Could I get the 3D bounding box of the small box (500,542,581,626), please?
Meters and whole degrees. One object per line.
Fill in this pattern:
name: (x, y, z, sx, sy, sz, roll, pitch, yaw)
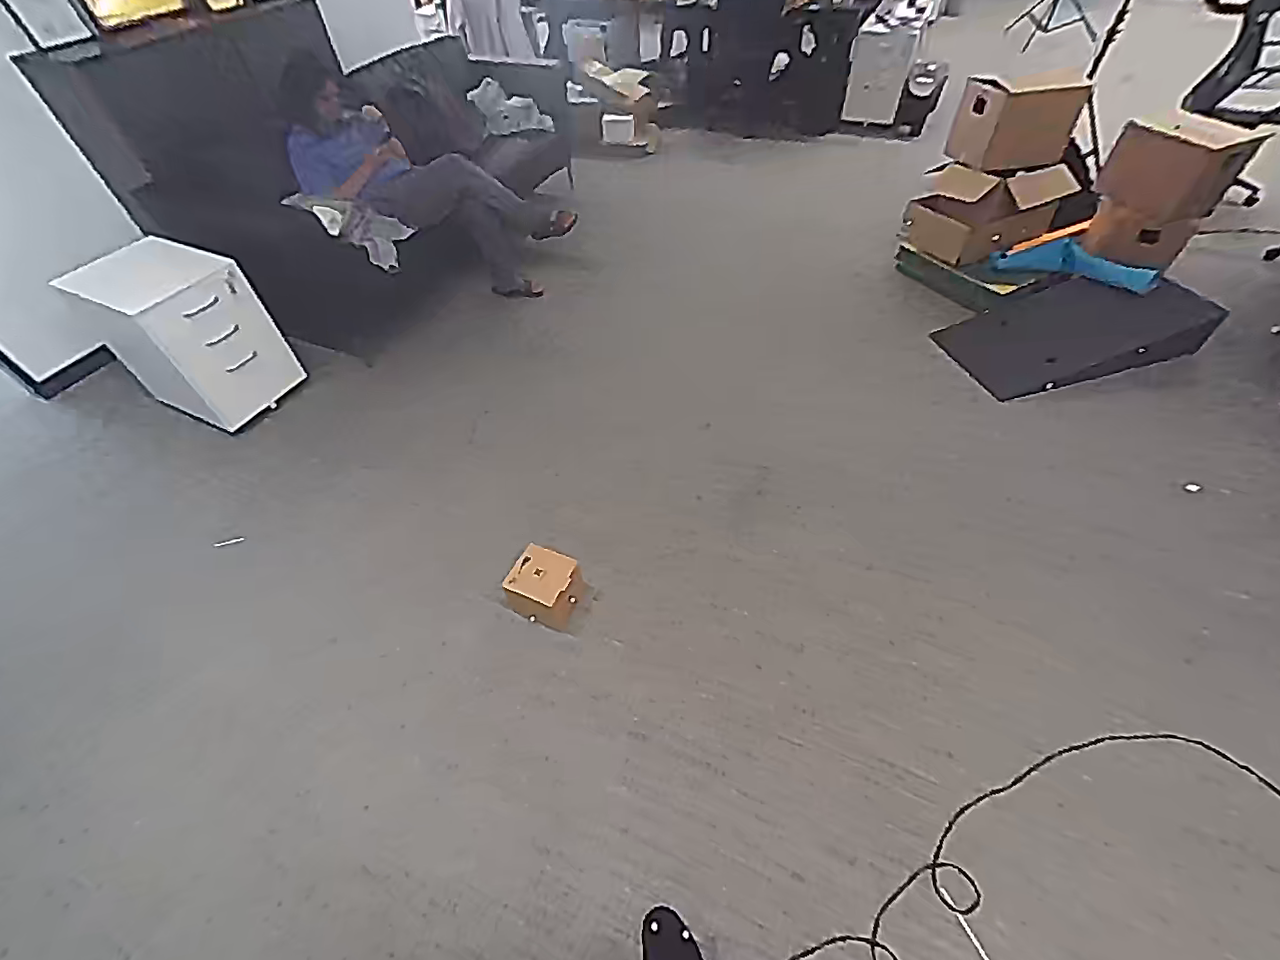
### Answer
small box: (-0.296, 0.325, 1.662, 0.179, 0.176, 0.168, 19, 52, 17)
